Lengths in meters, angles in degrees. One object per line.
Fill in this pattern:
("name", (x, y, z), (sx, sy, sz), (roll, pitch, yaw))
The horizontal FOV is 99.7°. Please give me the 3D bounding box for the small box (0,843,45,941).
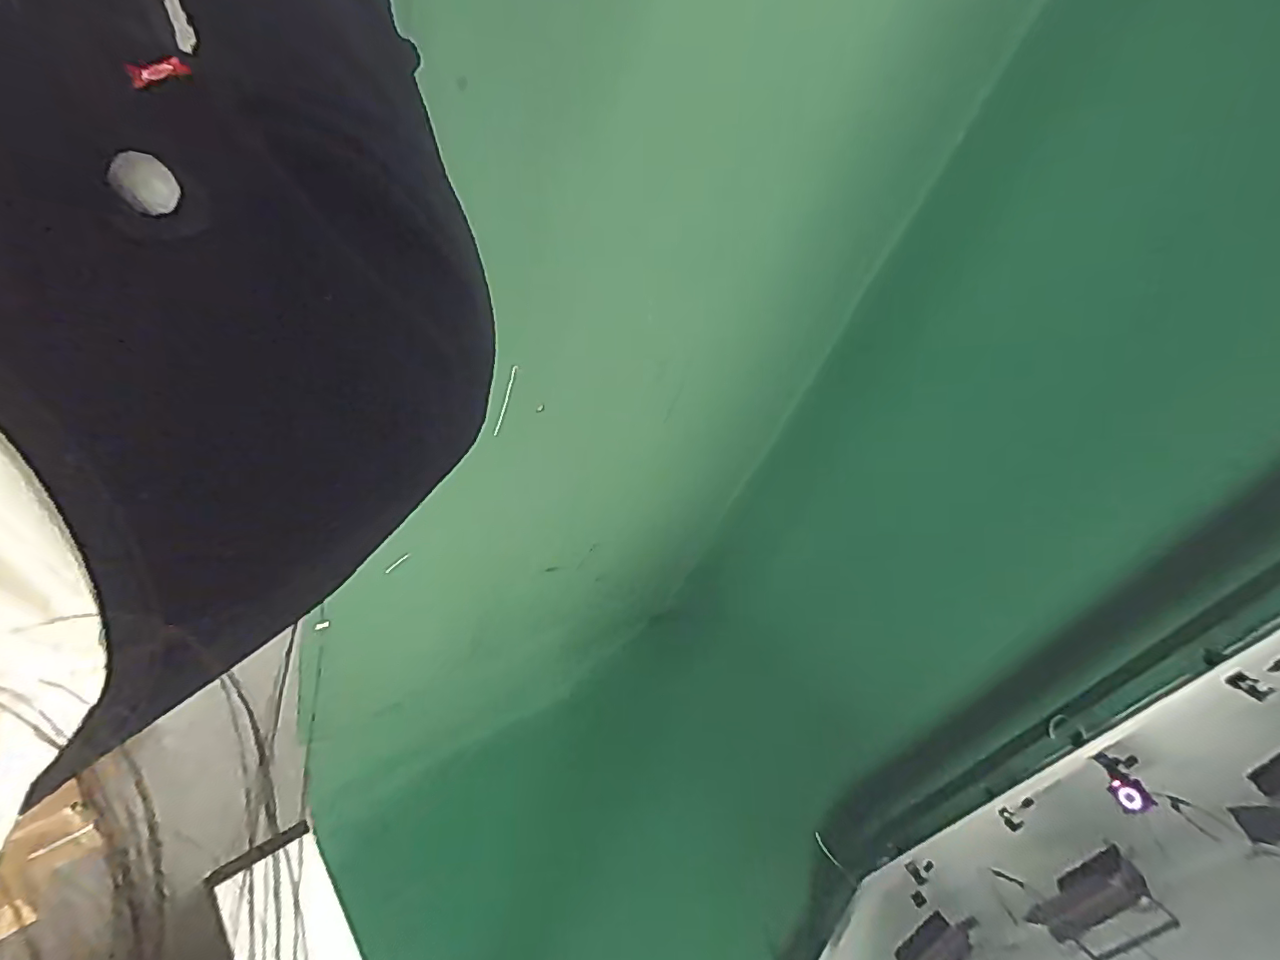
("small box", (-1.700, 1.092, 1.398), (0.179, 0.176, 0.168), (-17, 140, -43))
